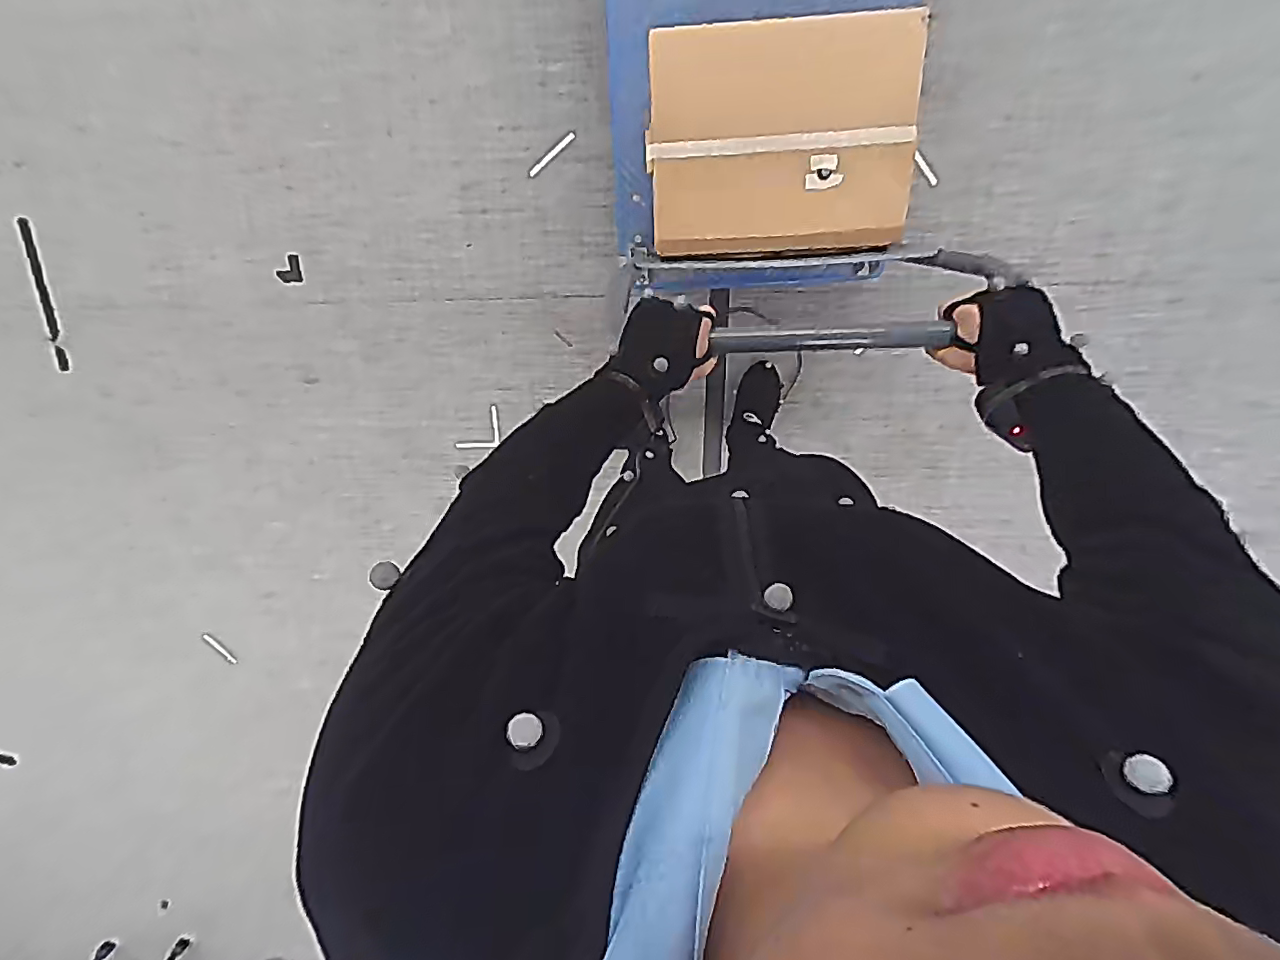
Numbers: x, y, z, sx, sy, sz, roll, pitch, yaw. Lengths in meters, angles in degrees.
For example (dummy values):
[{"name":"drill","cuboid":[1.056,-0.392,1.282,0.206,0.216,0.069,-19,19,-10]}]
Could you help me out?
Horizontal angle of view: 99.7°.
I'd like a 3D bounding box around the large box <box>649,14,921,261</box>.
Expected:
[{"name":"large box","cuboid":[0.228,-0.584,0.992,0.408,0.320,0.320,-2,113,4]}]
